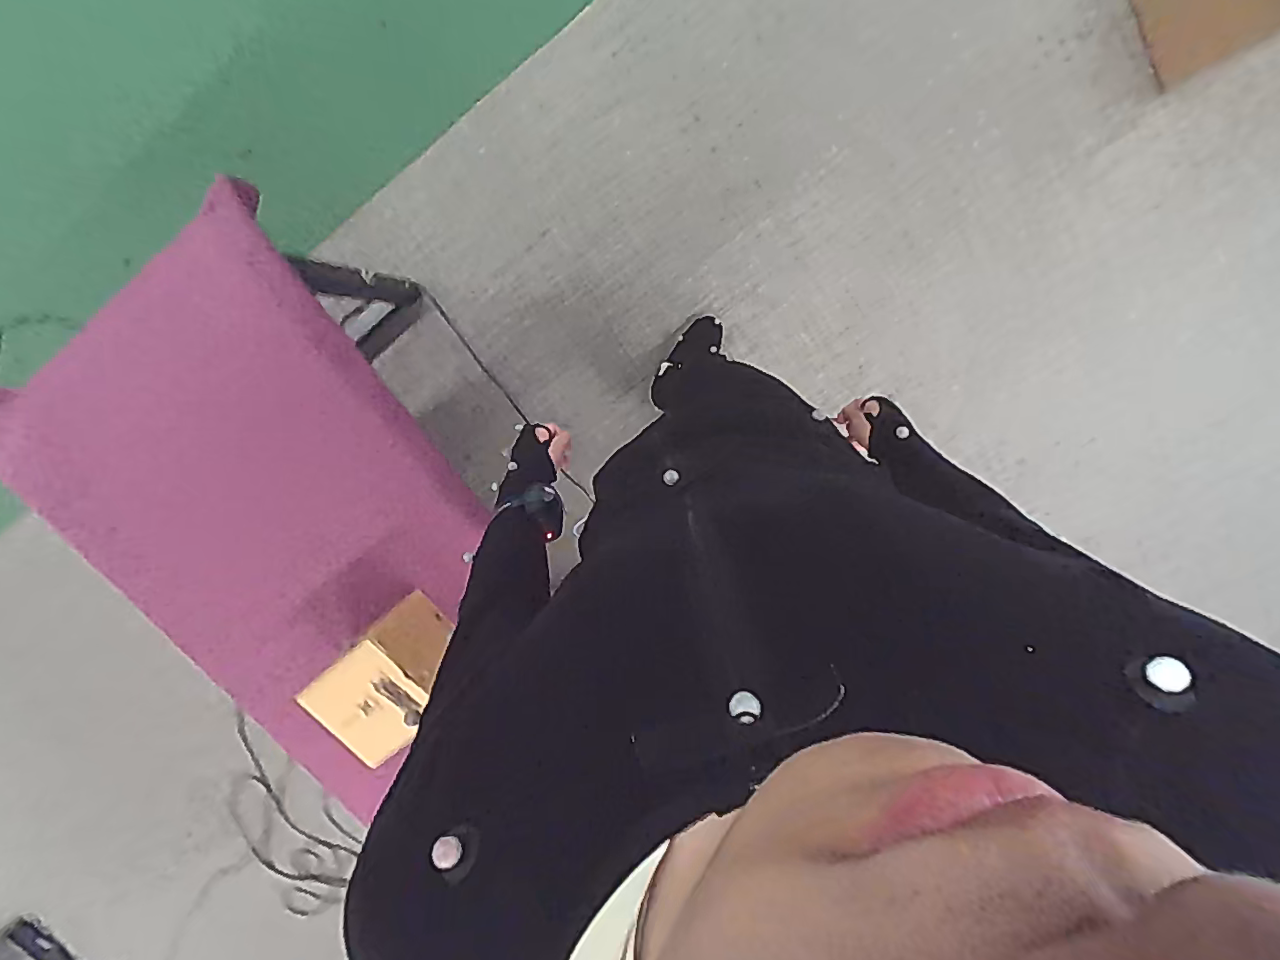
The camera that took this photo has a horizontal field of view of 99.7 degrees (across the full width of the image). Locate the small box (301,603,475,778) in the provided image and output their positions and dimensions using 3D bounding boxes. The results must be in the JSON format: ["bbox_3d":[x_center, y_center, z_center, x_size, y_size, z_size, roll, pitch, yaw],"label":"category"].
[{"bbox_3d":[-0.399,0.338,0.898,0.179,0.176,0.168,-39,100,12],"label":"small box"}]
